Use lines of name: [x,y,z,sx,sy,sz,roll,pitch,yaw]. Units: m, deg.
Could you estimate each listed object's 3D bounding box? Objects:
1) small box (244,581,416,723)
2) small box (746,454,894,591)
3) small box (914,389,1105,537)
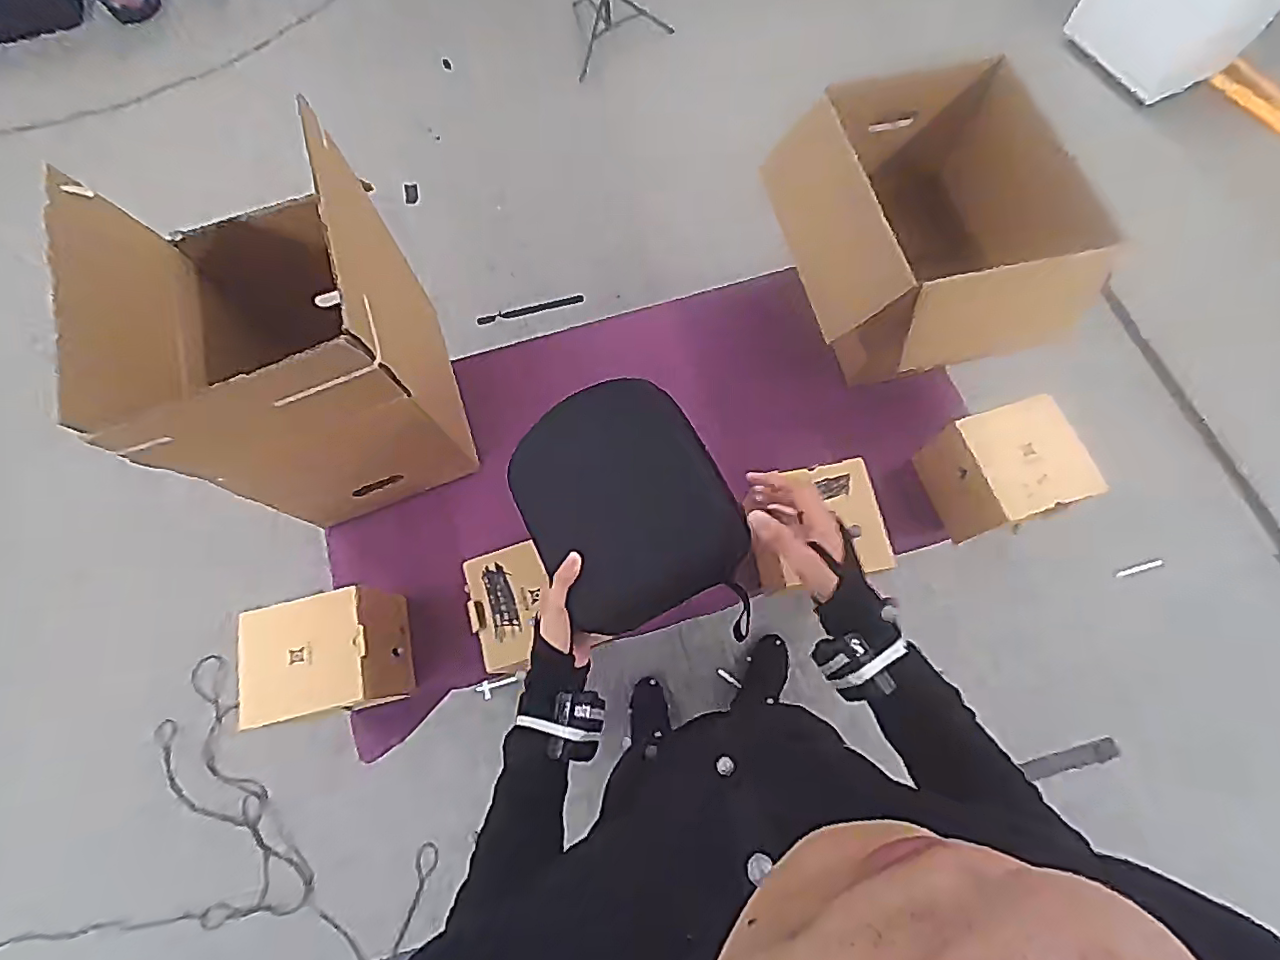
small box: [-0.480,0.271,0.853,0.179,0.176,0.168,-14,72,-4]
small box: [0.279,0.077,0.887,0.168,0.176,0.179,-10,73,-1]
small box: [0.597,-0.021,0.904,0.168,0.176,0.179,-17,72,-2]
